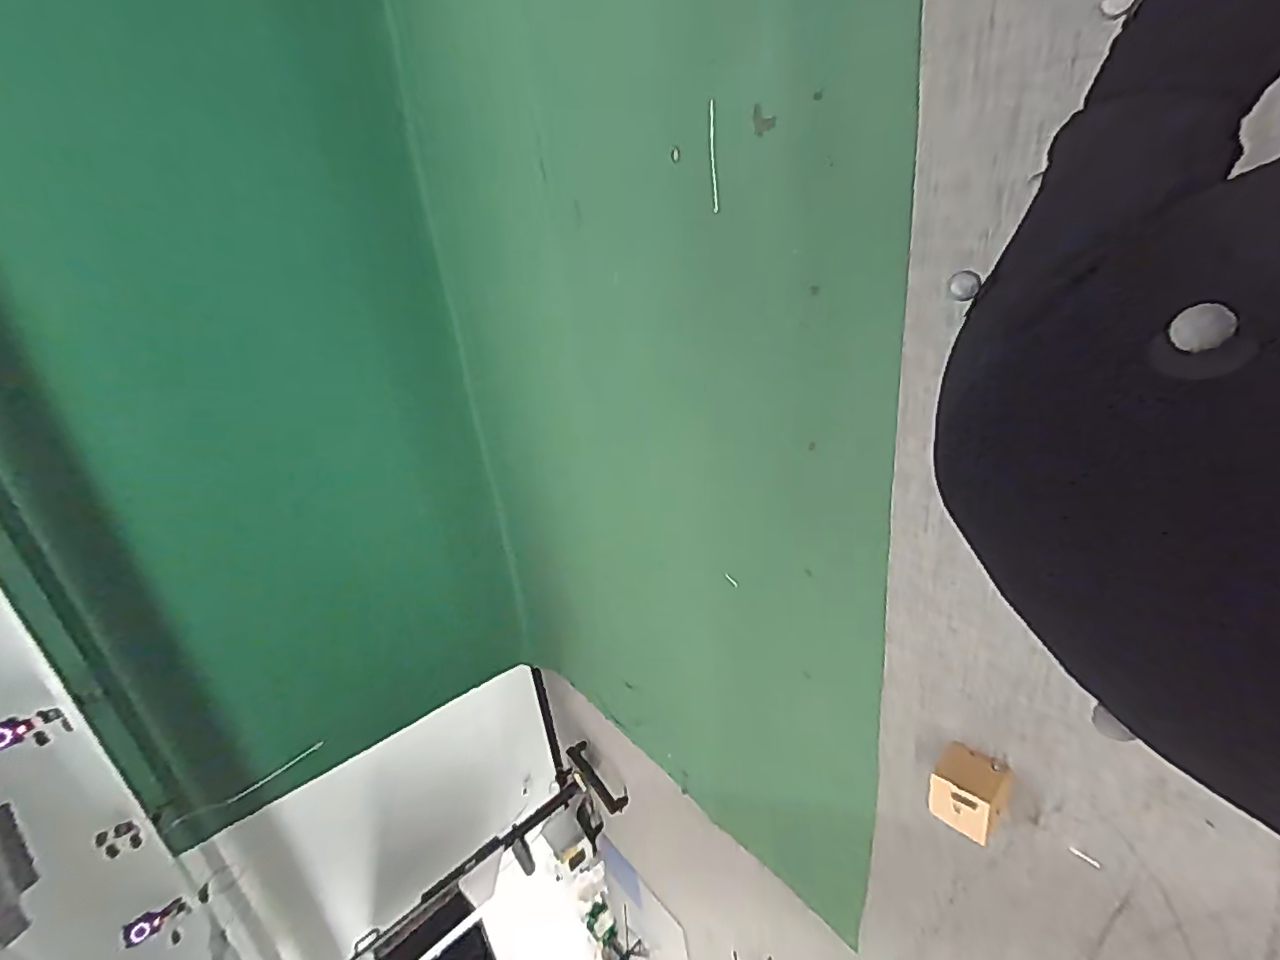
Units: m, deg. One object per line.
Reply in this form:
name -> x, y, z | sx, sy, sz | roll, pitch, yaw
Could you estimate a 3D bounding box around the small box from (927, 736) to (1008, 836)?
small box -> 1.023, 0.946, 1.689 | 0.168, 0.176, 0.179 | 17, 122, 49
